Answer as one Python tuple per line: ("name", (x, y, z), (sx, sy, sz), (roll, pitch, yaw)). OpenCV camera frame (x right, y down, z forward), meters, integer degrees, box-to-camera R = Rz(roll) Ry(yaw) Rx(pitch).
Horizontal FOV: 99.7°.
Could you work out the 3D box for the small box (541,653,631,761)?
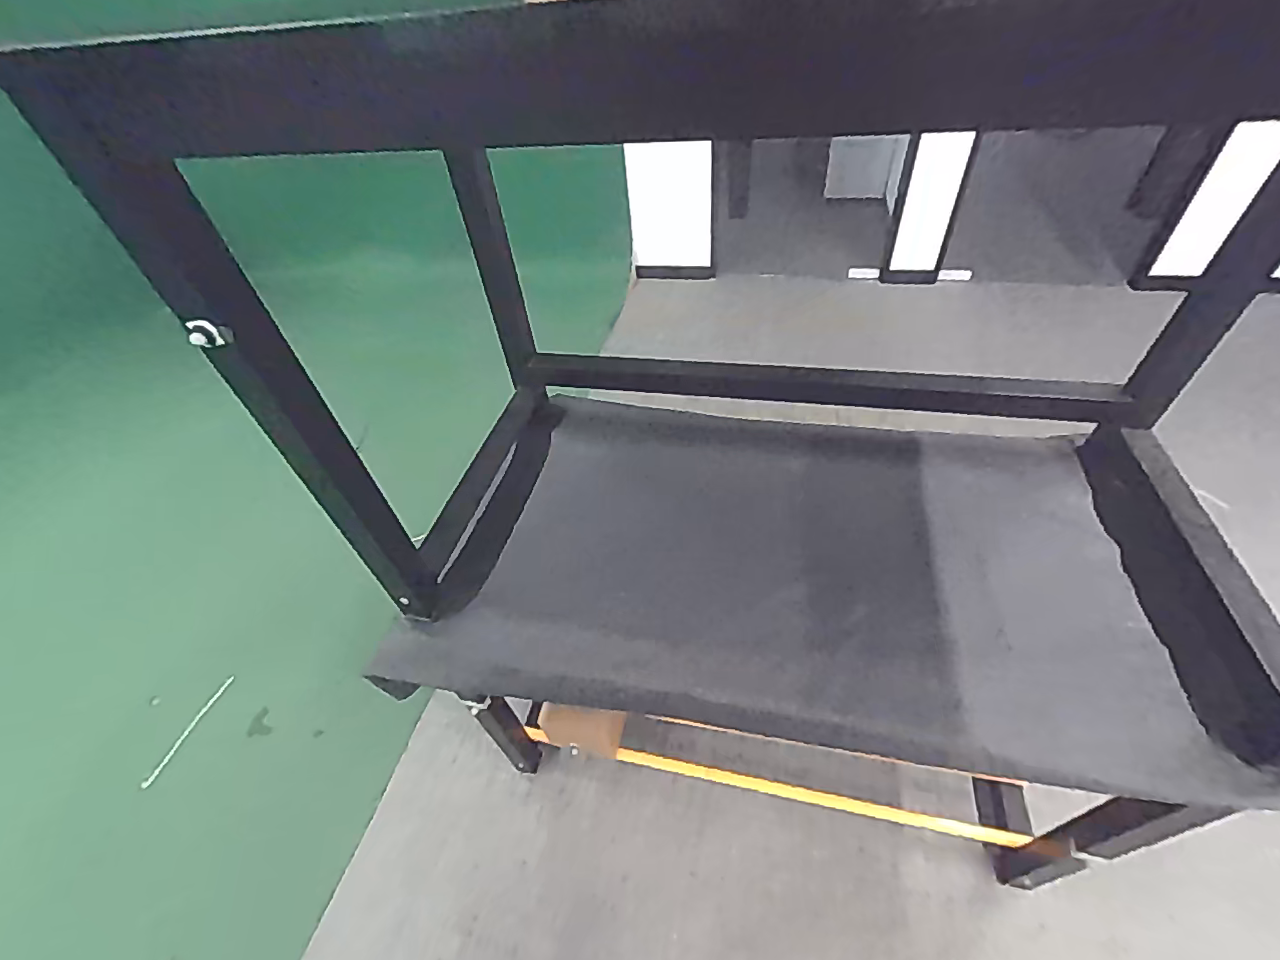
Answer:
("small box", (-0.121, 0.549, 1.305), (0.168, 0.176, 0.179), (5, 48, 13))
